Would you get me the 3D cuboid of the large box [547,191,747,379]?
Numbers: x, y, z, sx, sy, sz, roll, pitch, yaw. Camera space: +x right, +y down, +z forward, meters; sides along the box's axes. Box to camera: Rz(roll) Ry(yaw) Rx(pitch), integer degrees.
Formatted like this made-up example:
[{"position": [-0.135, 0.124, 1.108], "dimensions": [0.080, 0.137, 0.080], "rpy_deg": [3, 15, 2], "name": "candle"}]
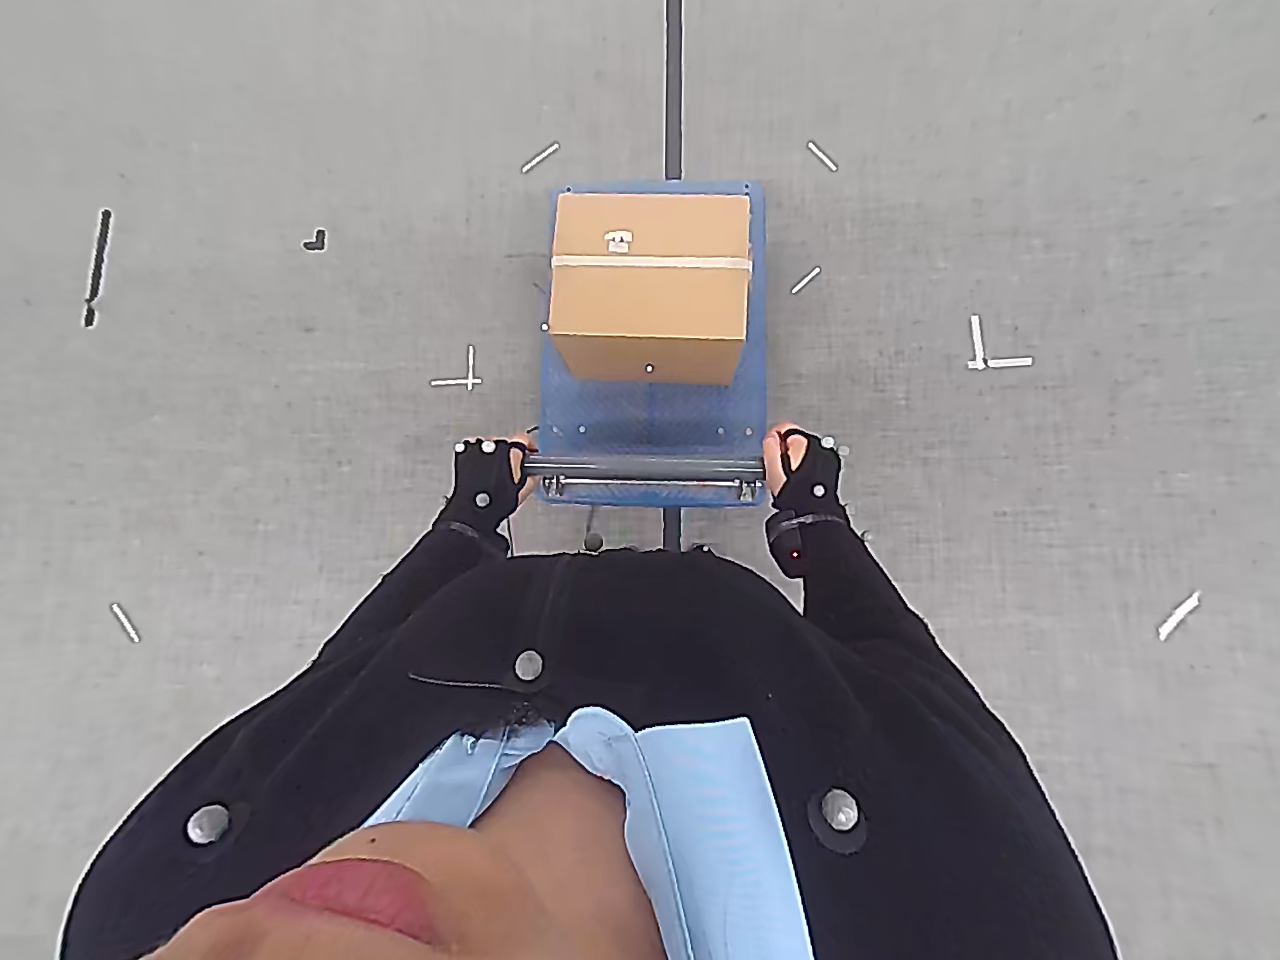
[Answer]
[{"position": [0.029, -0.423, 1.243], "dimensions": [0.408, 0.320, 0.320], "rpy_deg": [2, 82, 5], "name": "large box"}]
